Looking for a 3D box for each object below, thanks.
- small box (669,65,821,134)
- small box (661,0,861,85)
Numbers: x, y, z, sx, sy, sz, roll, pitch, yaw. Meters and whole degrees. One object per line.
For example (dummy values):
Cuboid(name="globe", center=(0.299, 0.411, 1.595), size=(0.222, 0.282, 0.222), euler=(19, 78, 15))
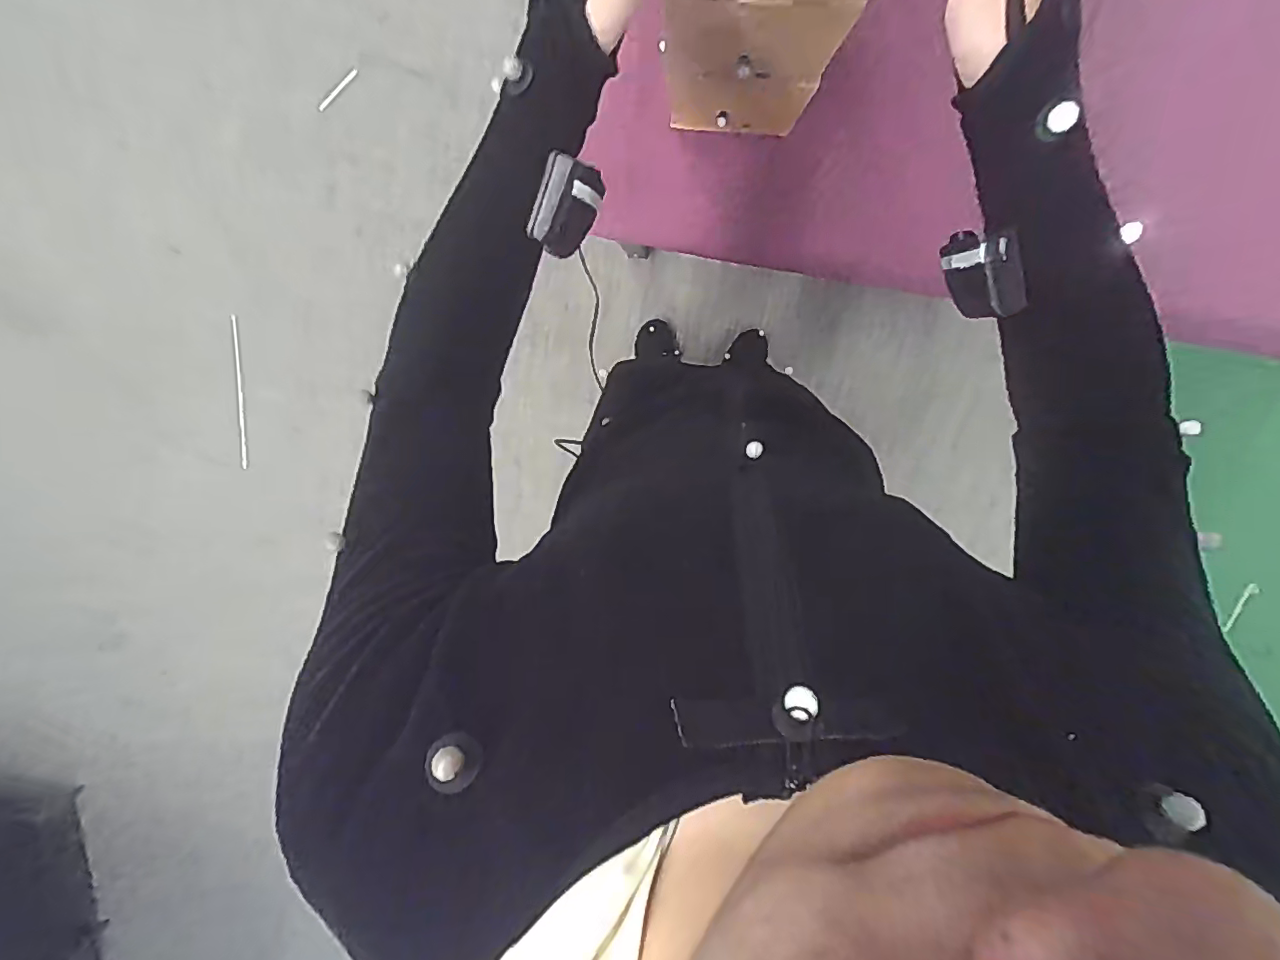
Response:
Cuboid(name="small box", center=(0.123, -0.540, 0.639), size=(0.168, 0.176, 0.179), euler=(5, 108, 2))
Cuboid(name="small box", center=(0.106, -0.492, 0.483), size=(0.168, 0.176, 0.179), euler=(4, 107, 3))
